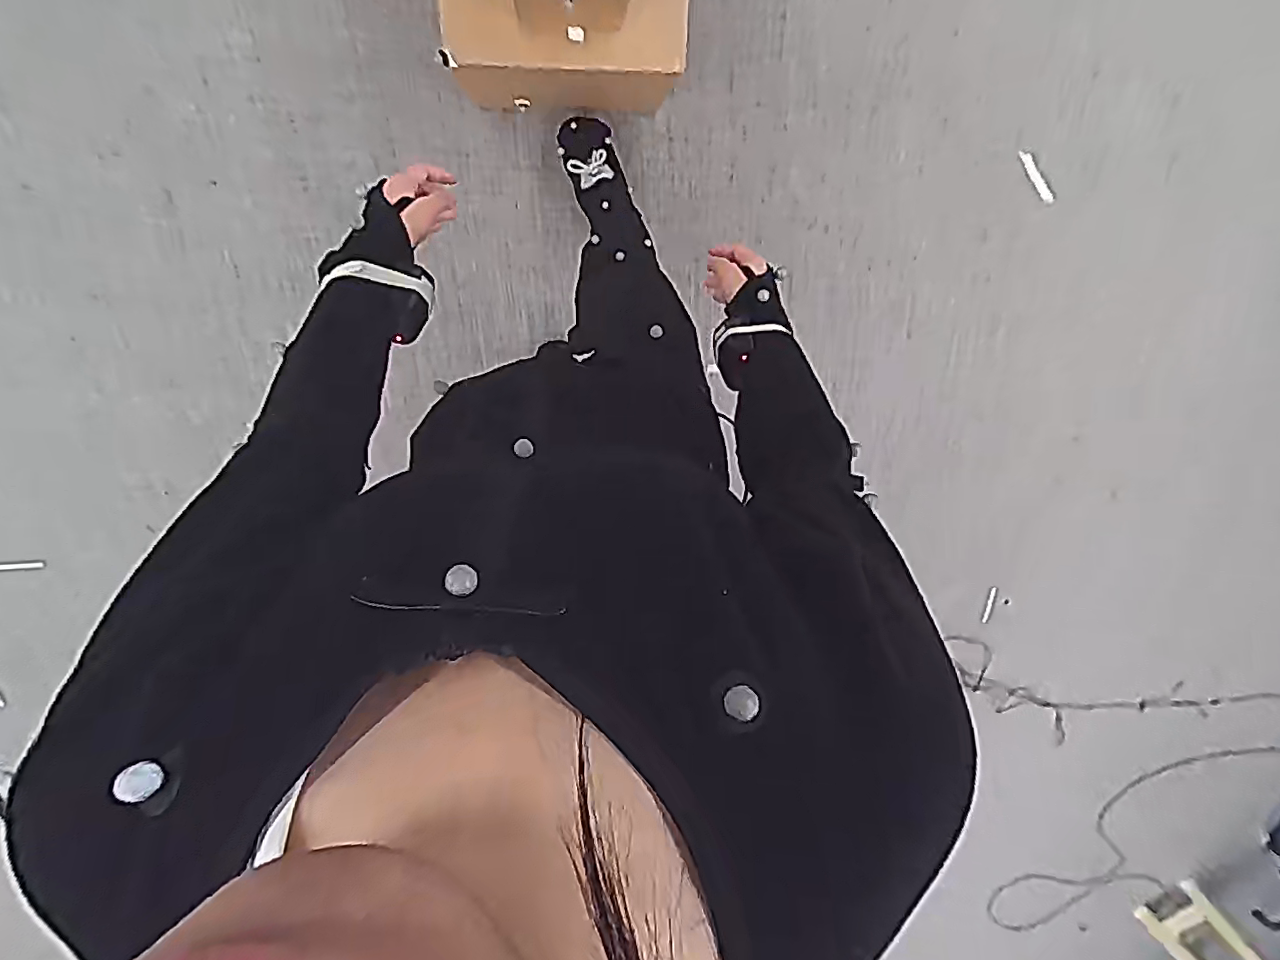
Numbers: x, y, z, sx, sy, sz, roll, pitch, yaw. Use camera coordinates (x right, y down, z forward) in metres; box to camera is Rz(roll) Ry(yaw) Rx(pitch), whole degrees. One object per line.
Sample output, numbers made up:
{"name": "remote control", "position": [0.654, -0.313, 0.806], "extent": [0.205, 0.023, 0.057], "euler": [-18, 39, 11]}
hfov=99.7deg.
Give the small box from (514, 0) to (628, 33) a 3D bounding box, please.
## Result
{"name": "small box", "position": [-0.104, -0.779, 0.786], "extent": [0.179, 0.176, 0.168], "euler": [-5, 115, -6]}
